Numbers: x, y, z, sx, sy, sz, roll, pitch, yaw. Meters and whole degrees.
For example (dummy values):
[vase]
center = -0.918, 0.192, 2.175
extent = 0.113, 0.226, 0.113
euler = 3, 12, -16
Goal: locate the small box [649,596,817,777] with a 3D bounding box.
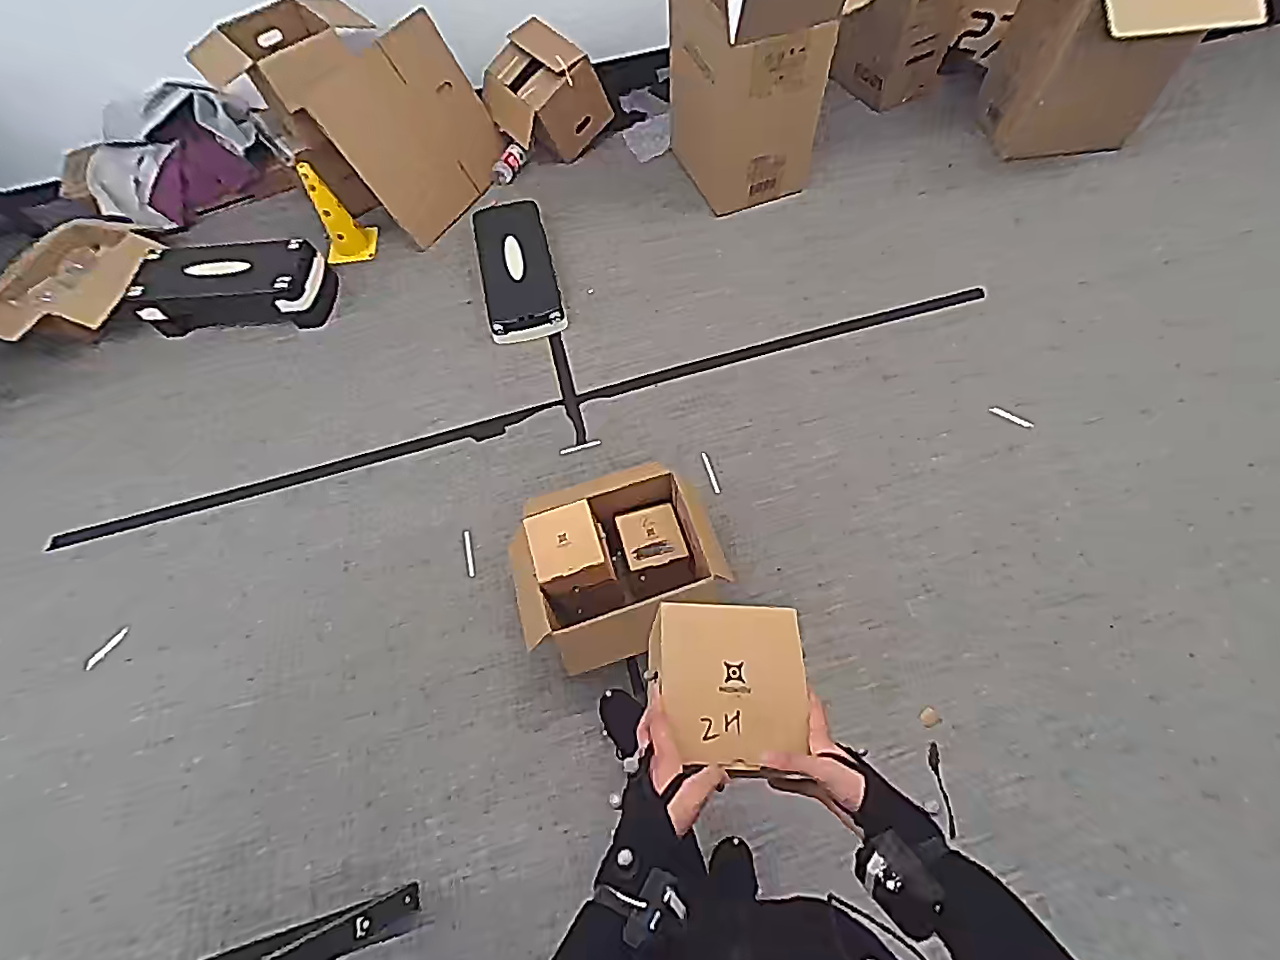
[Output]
[small box]
center = 0.099, 0.258, 0.664
extent = 0.168, 0.176, 0.179
euler = 3, 59, -2
